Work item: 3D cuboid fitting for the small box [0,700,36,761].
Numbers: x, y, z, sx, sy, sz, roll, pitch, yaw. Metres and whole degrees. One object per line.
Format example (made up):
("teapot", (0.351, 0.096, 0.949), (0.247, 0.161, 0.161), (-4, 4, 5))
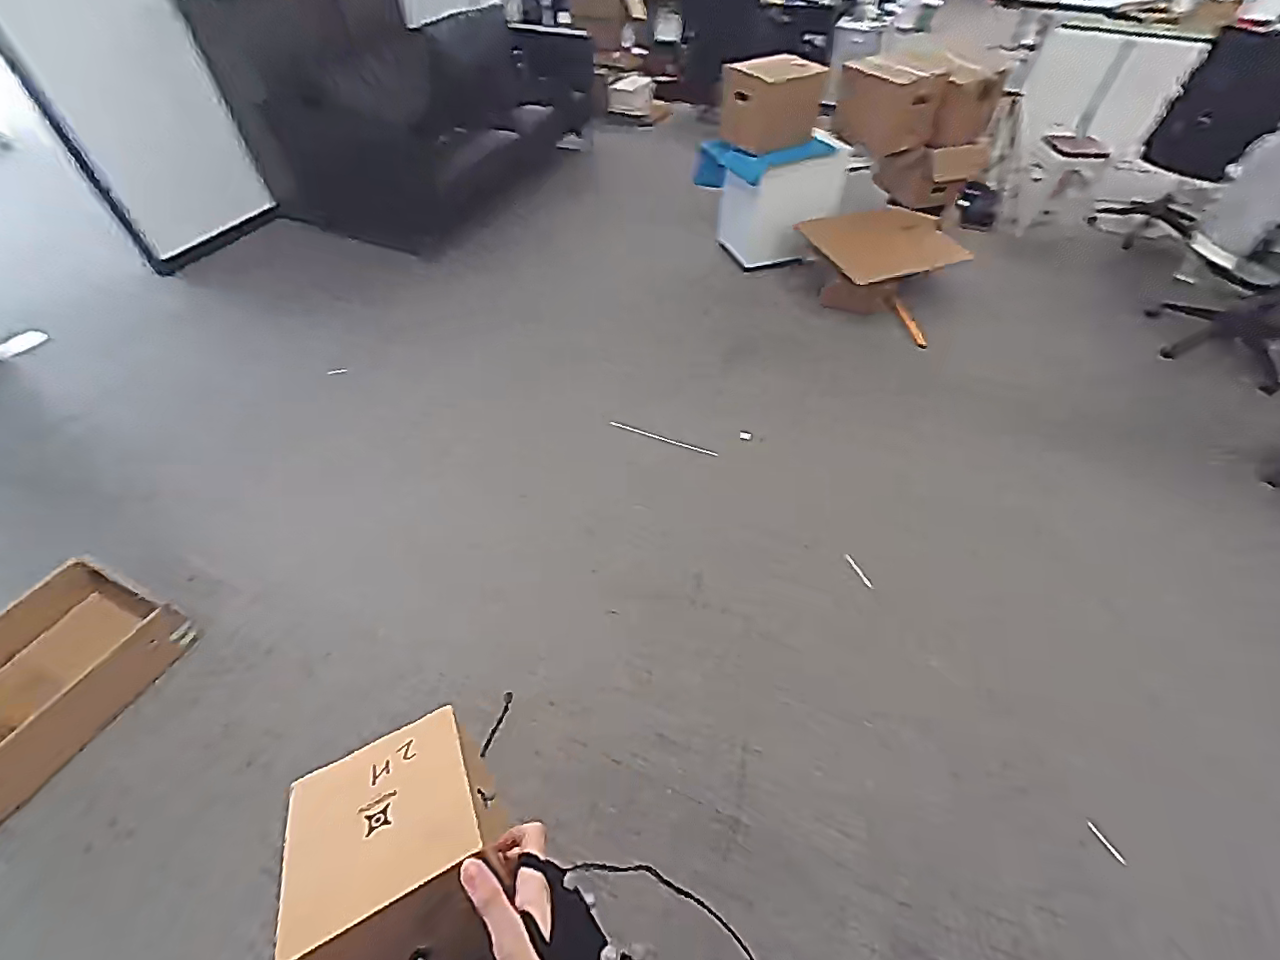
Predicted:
("small box", (-1.719, 0.643, 1.366), (0.179, 0.176, 0.168), (20, 52, 17))

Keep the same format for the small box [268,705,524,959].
("small box", (-0.230, 0.375, 0.537), (0.168, 0.176, 0.179), (-22, 30, -18))
